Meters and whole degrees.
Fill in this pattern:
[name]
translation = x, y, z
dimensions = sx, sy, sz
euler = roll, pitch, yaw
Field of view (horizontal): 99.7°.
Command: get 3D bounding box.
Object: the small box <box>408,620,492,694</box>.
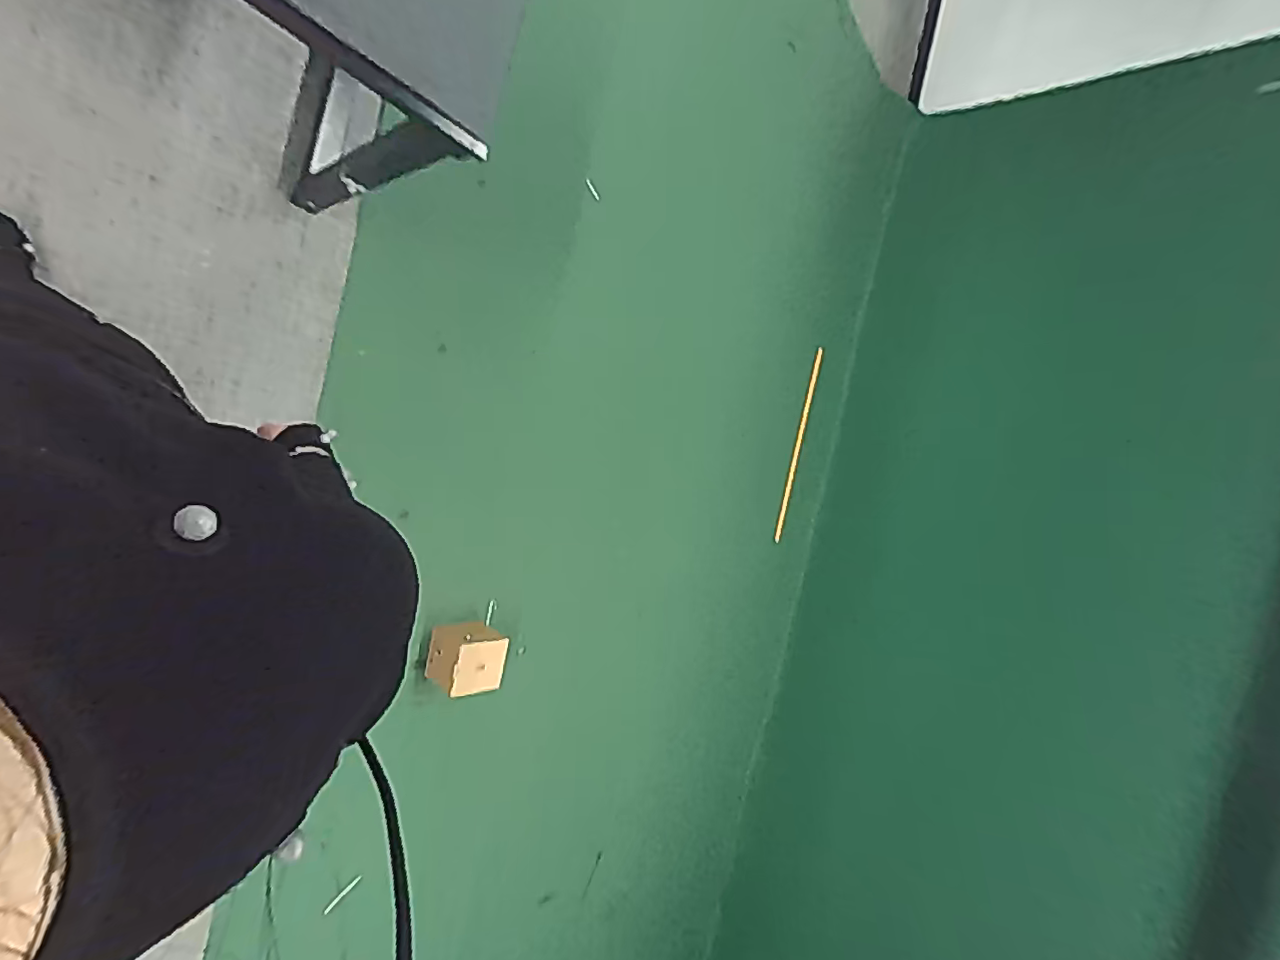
[small box]
translation = -0.609, 0.556, 1.730
dimensions = 0.179, 0.176, 0.168
euler = 10, 93, -50
